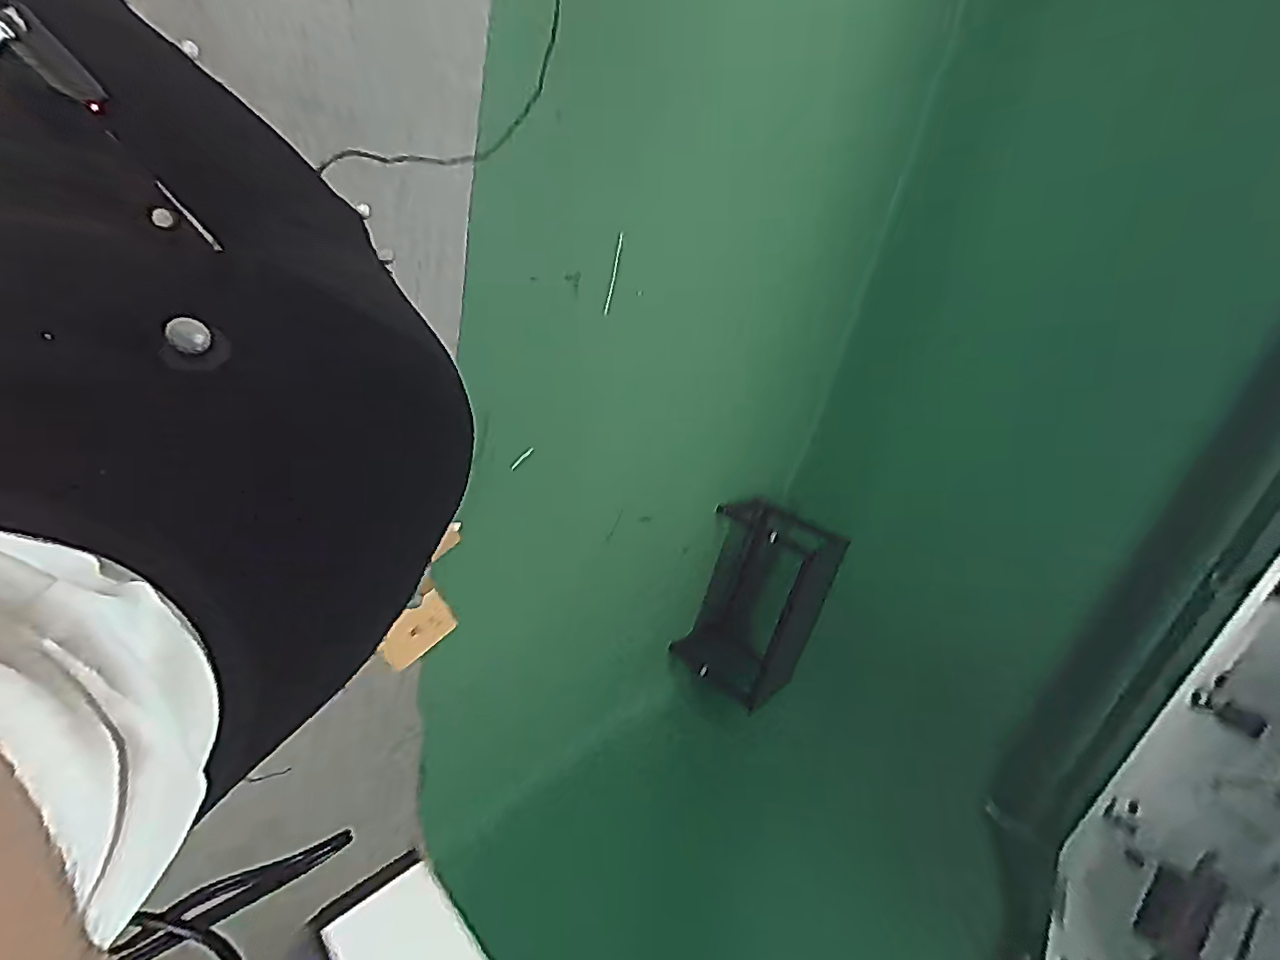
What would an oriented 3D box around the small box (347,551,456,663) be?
[{"bbox_3d":[-0.607,0.317,1.366,0.179,0.176,0.168,-39,140,-29],"label":"small box"}]
